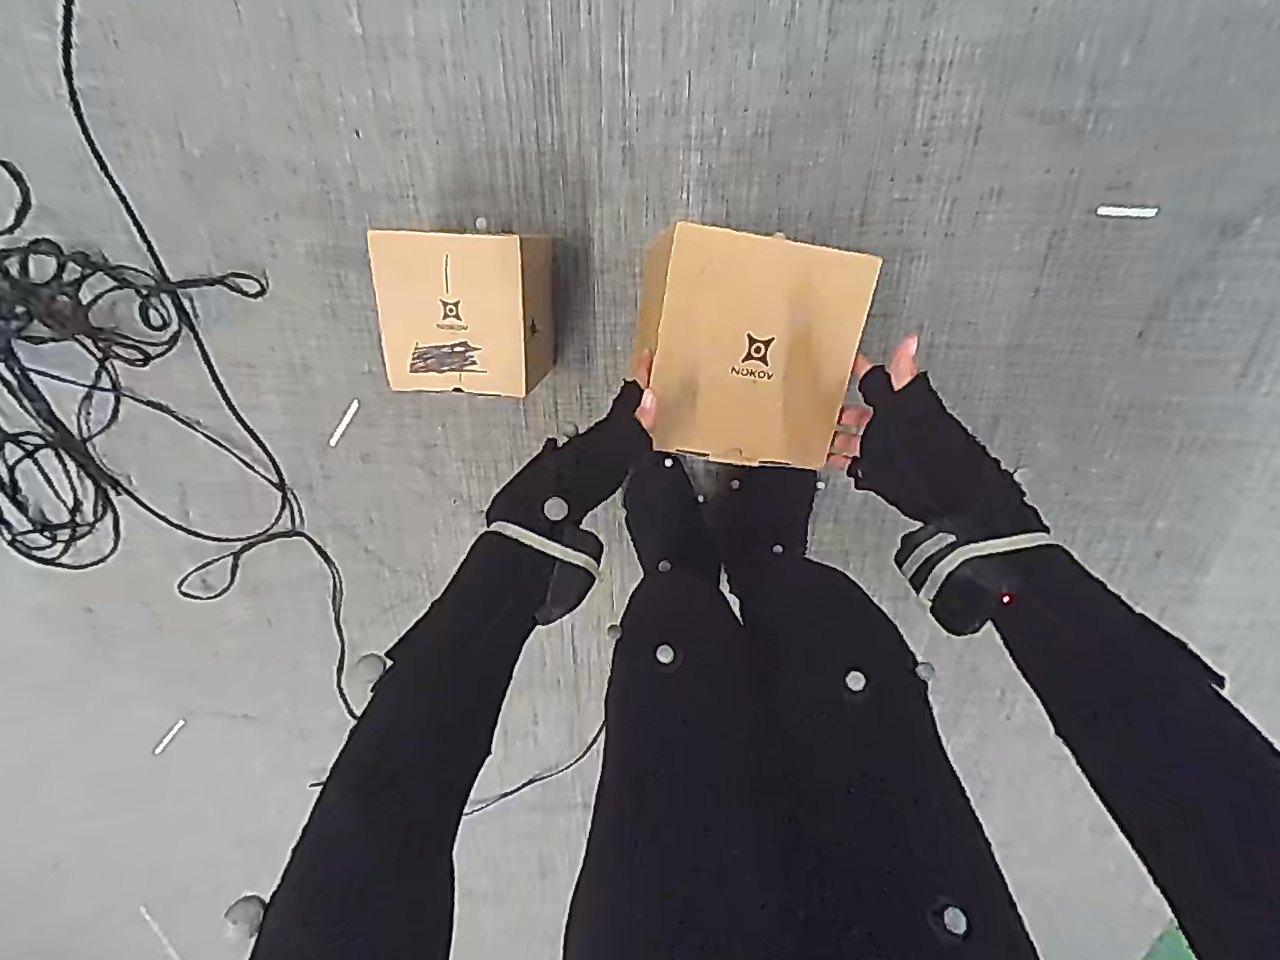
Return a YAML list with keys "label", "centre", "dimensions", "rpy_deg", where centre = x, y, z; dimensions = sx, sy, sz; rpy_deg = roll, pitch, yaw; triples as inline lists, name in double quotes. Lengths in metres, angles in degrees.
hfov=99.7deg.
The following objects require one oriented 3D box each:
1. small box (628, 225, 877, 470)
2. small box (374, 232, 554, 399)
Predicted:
- label: "small box"
  centre: [0.084, -0.125, 0.509]
  dimensions: [0.168, 0.176, 0.179]
  rpy_deg: [6, 110, -9]
- label: "small box"
  centre: [-0.205, -0.213, 0.685]
  dimensions: [0.168, 0.176, 0.179]
  rpy_deg: [4, 114, 1]
